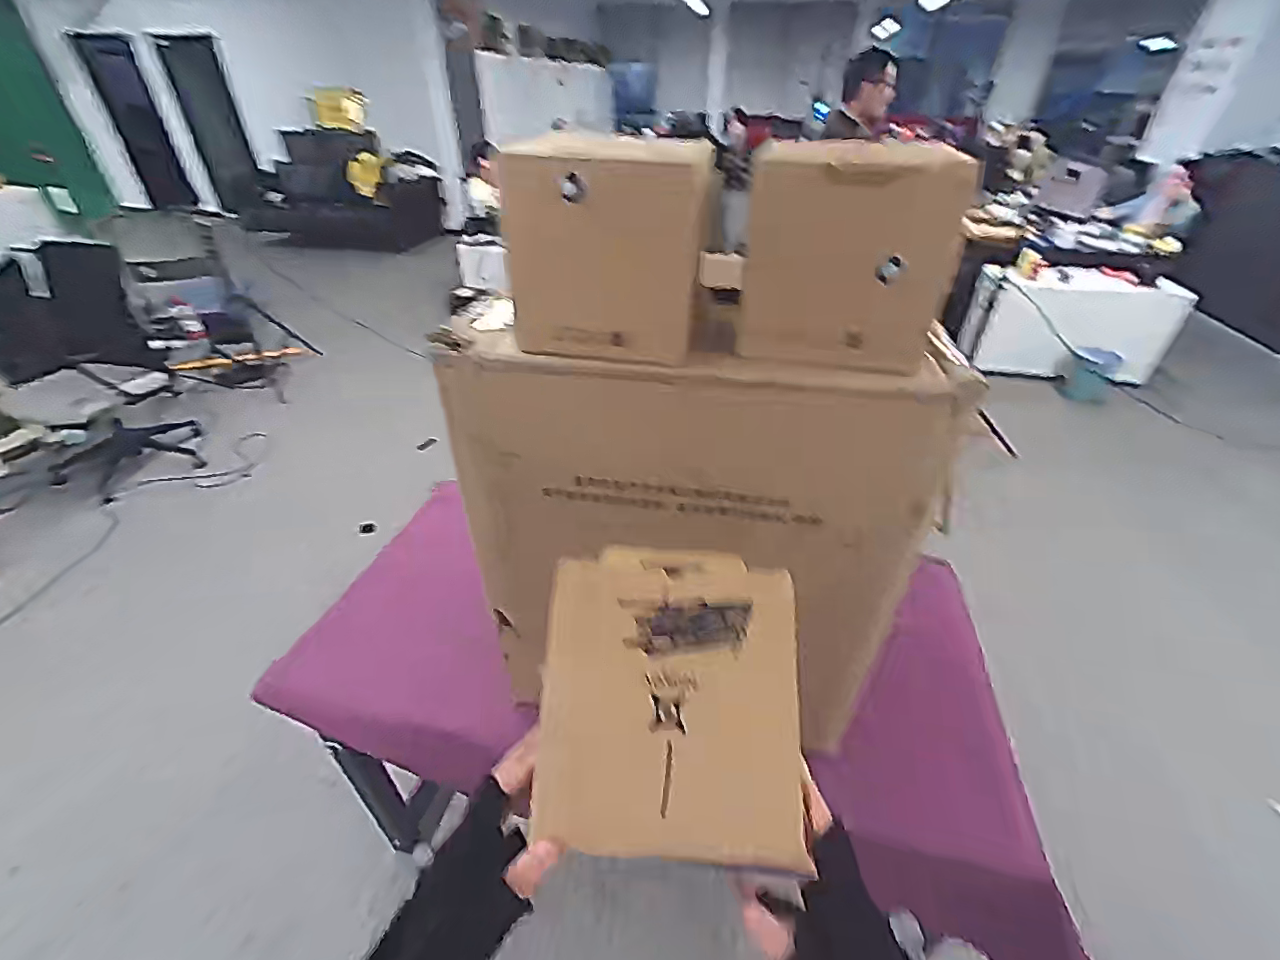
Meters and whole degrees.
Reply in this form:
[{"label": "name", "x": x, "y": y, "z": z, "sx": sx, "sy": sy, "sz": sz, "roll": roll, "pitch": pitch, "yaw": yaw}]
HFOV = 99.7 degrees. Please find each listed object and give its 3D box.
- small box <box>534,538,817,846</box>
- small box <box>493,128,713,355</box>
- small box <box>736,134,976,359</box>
[{"label": "small box", "x": 0.022, "y": 0.155, "z": 0.414, "sx": 0.168, "sy": 0.176, "sz": 0.179, "roll": 3, "pitch": 68, "yaw": 0}, {"label": "small box", "x": -0.025, "y": -0.237, "z": 0.526, "sx": 0.168, "sy": 0.176, "sz": 0.179, "roll": 6, "pitch": 35, "yaw": 8}, {"label": "small box", "x": 0.187, "y": -0.227, "z": 0.518, "sx": 0.168, "sy": 0.176, "sz": 0.179, "roll": 9, "pitch": 35, "yaw": 12}]
